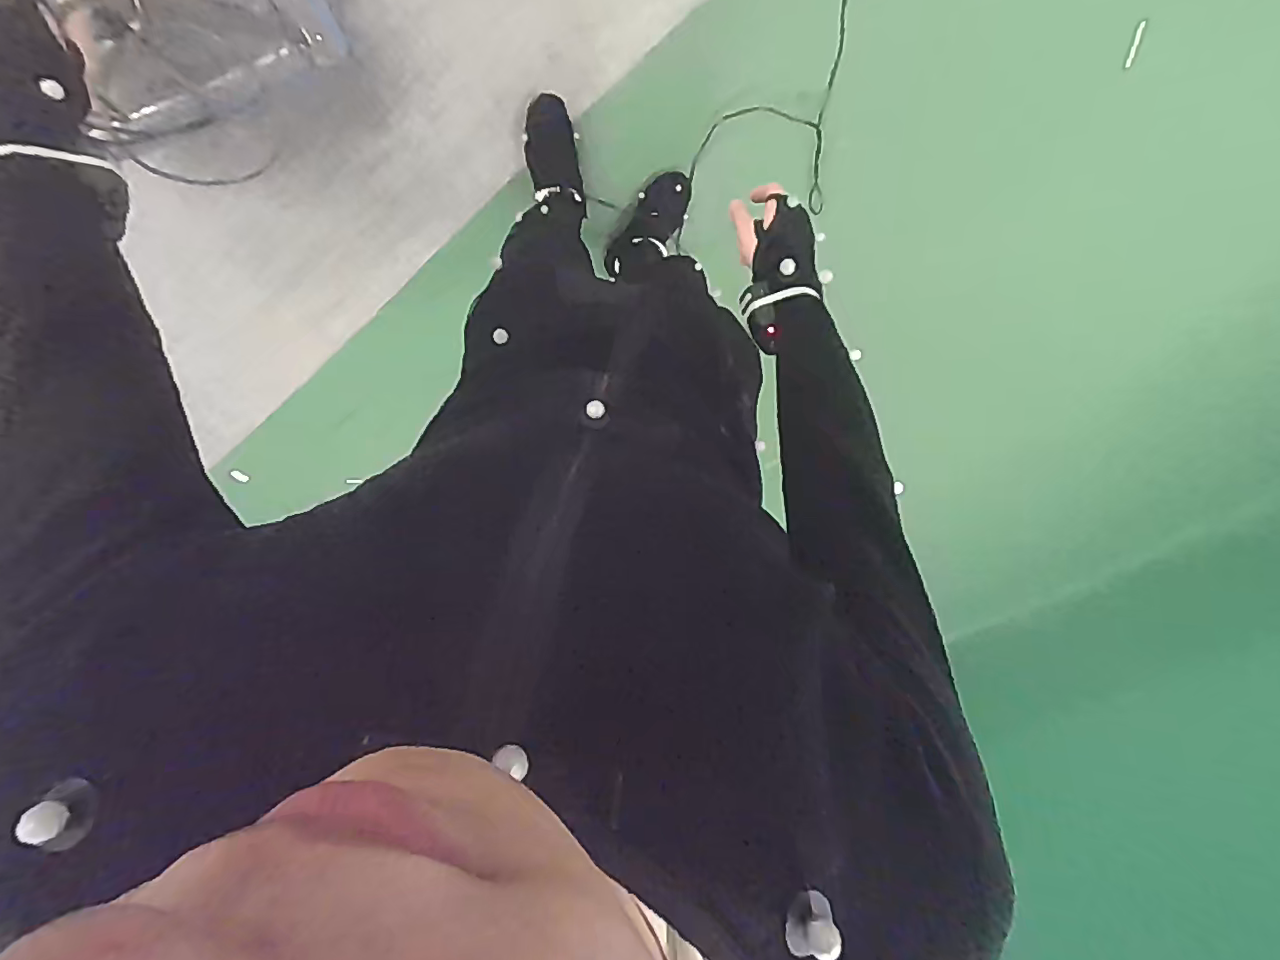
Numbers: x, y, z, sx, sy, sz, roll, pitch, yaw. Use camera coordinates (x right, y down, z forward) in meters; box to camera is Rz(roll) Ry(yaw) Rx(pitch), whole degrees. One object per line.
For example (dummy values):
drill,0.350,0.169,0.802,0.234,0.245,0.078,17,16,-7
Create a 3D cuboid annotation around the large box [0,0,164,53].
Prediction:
large box,-0.880,-0.808,0.651,0.320,0.320,0.408,-16,131,4
